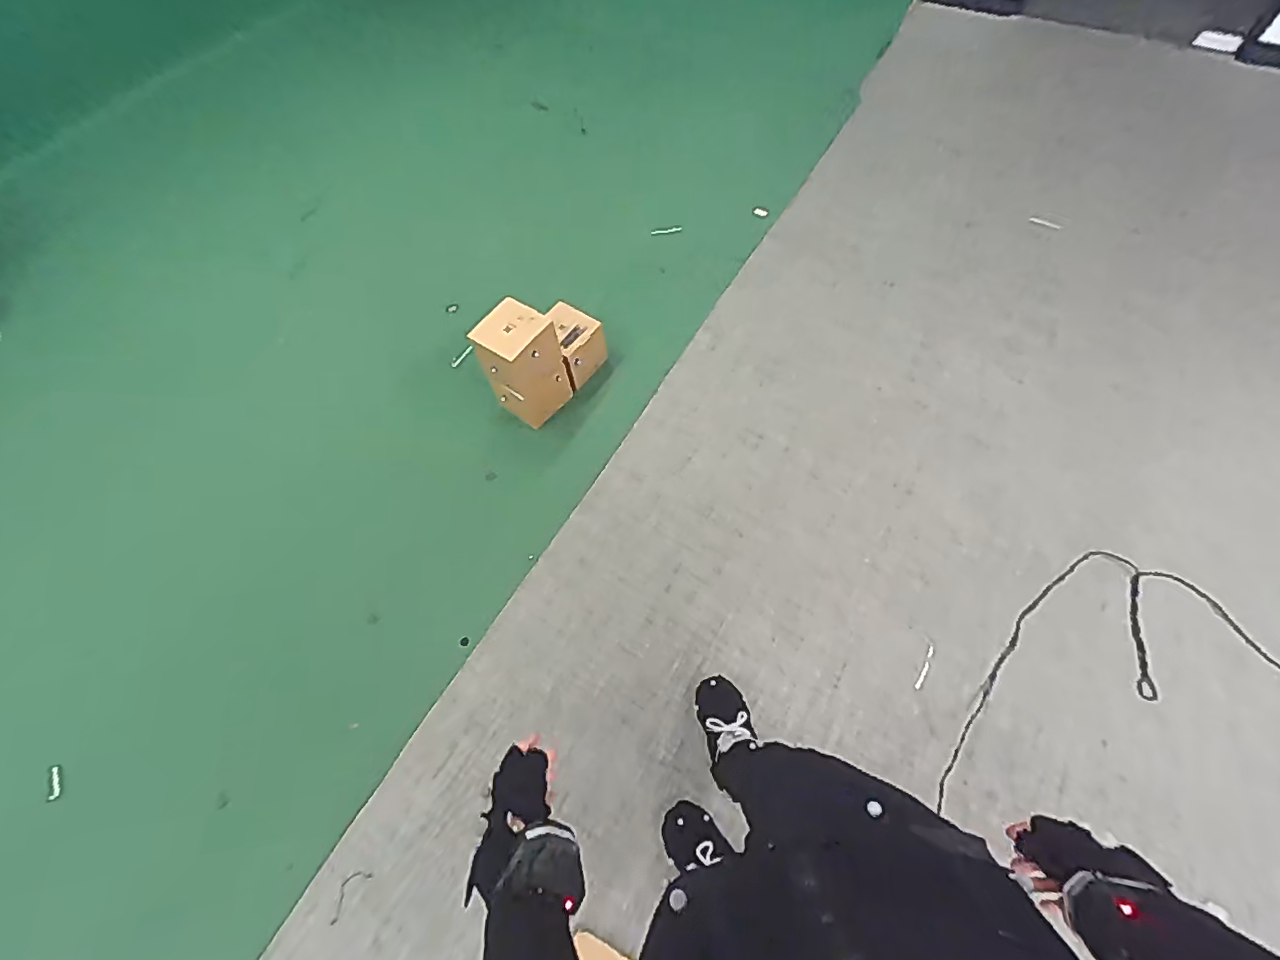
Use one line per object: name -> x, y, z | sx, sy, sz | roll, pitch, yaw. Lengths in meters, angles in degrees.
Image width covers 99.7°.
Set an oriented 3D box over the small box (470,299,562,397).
small box -> -0.342, -0.369, 1.534 | 0.168, 0.176, 0.179 | 31, 68, 18
